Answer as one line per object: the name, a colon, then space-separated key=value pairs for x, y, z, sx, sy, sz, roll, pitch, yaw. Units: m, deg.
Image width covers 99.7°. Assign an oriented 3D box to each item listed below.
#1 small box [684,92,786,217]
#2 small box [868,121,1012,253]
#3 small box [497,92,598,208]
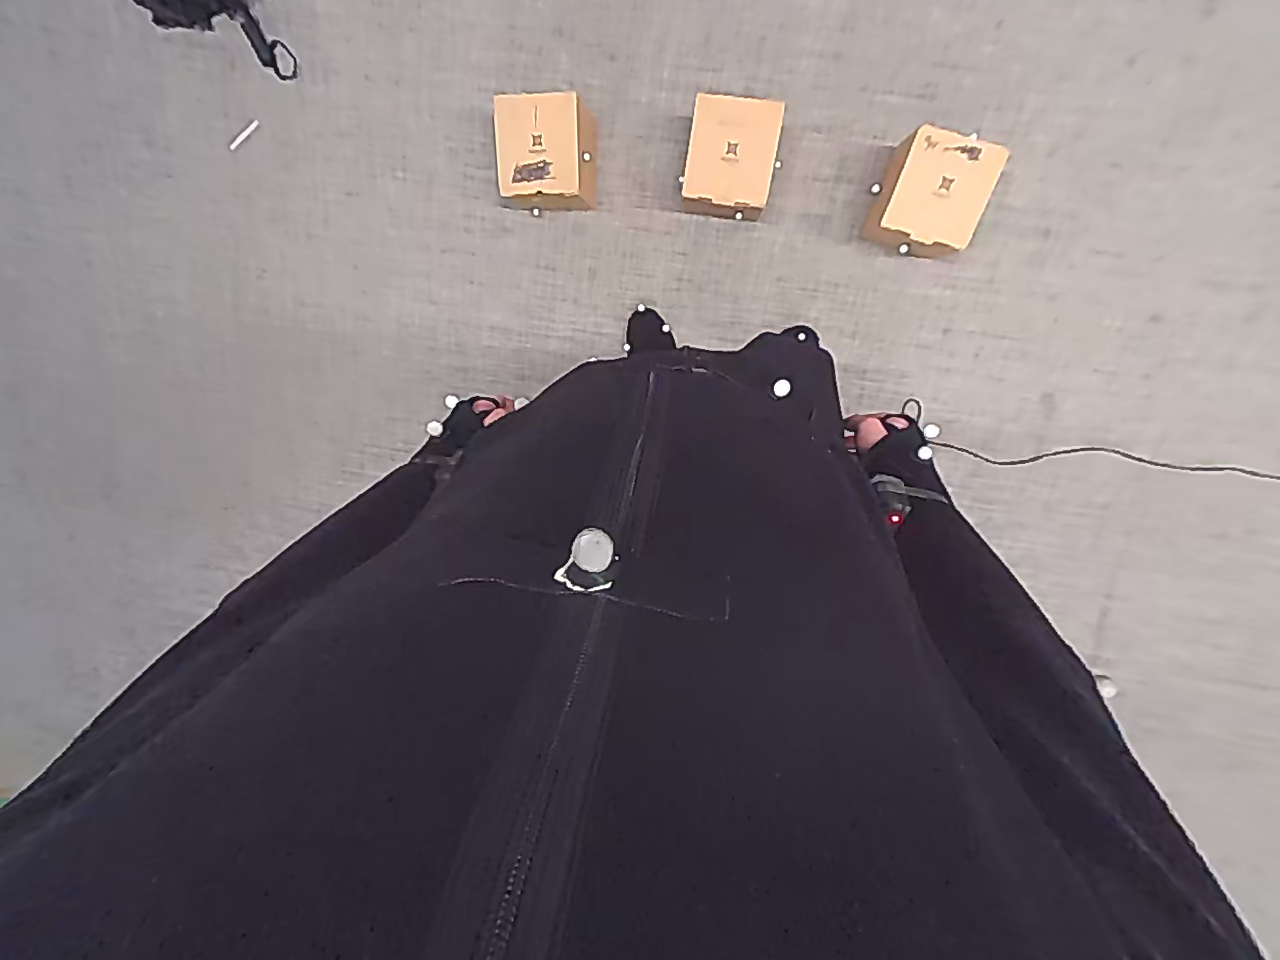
small box: x=0.184 y=-0.638 z=1.082 sx=0.168 sy=0.176 sz=0.179 roll=9 pitch=107 yaw=4
small box: x=0.564 y=-0.555 z=1.052 sx=0.168 sy=0.176 sz=0.179 roll=18 pitch=110 yaw=3
small box: x=-0.183 y=-0.670 z=1.121 sx=0.168 sy=0.176 sz=0.179 roll=2 pitch=107 yaw=7
